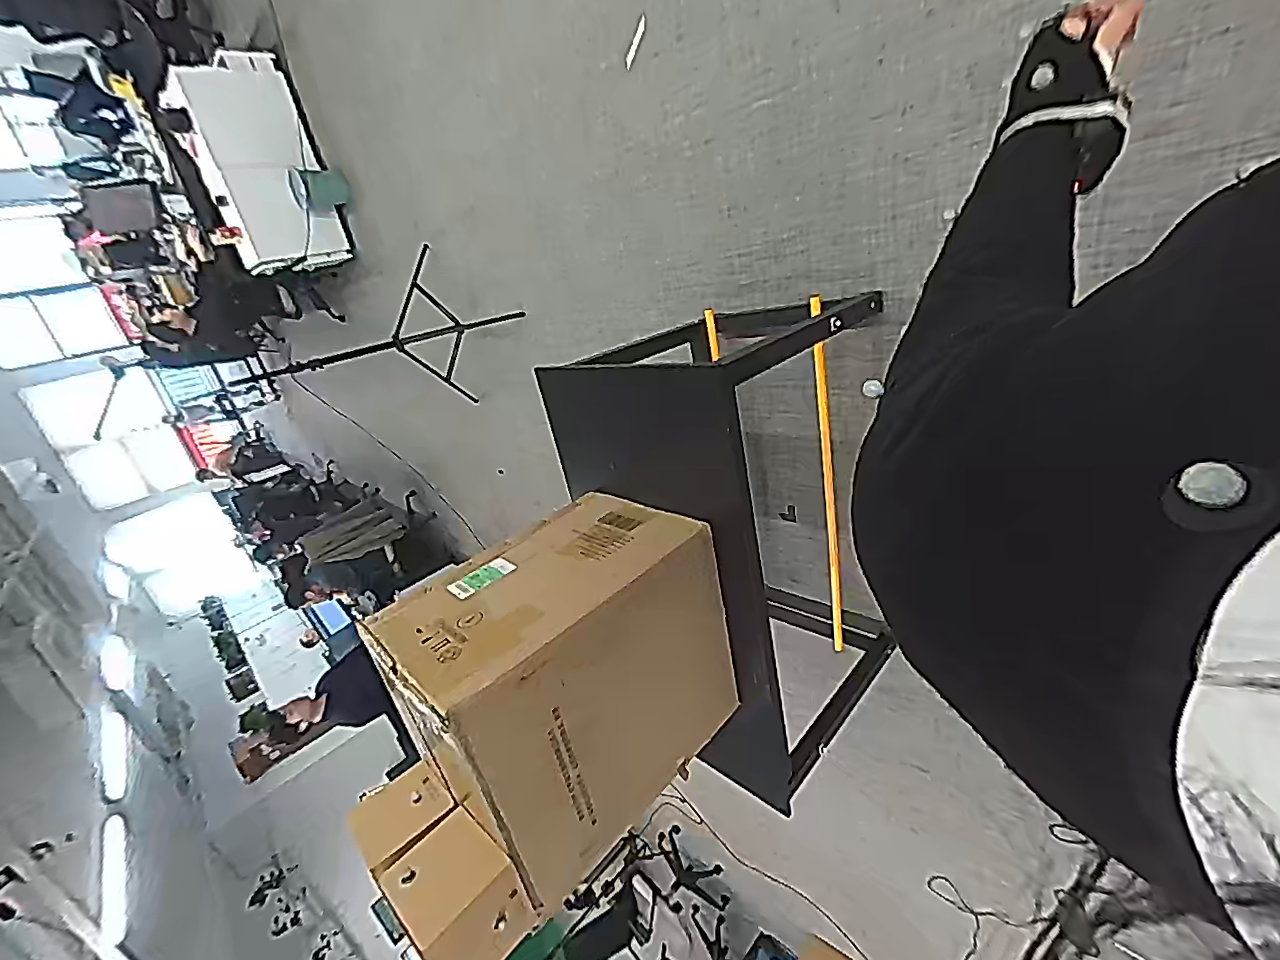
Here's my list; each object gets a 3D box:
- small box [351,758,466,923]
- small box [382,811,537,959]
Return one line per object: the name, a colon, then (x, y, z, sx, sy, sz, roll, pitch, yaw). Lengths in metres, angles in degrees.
small box: (-0.440, 0.709, 1.081, 0.168, 0.176, 0.179, 14, 123, 47)
small box: (-0.307, 0.718, 0.933, 0.179, 0.176, 0.168, 10, 121, 43)
